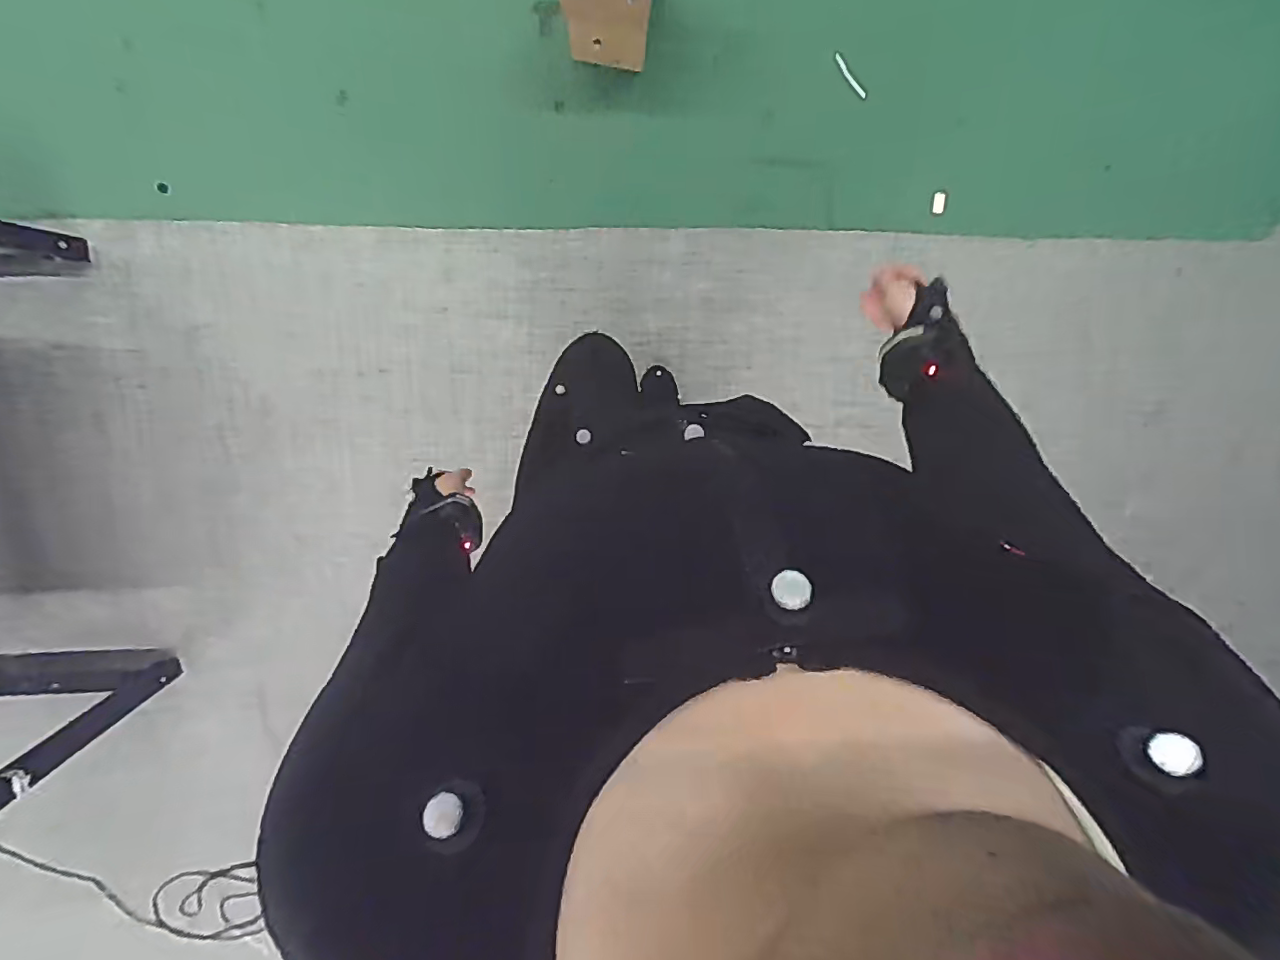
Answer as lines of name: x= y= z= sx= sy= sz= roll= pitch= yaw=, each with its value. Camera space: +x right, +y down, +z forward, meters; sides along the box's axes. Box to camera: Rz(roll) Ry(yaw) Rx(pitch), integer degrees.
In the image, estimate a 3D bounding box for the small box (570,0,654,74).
small box: x=-0.055 y=-1.022 z=1.168 sx=0.168 sy=0.176 sz=0.179 roll=7 pitch=102 yaw=-5
